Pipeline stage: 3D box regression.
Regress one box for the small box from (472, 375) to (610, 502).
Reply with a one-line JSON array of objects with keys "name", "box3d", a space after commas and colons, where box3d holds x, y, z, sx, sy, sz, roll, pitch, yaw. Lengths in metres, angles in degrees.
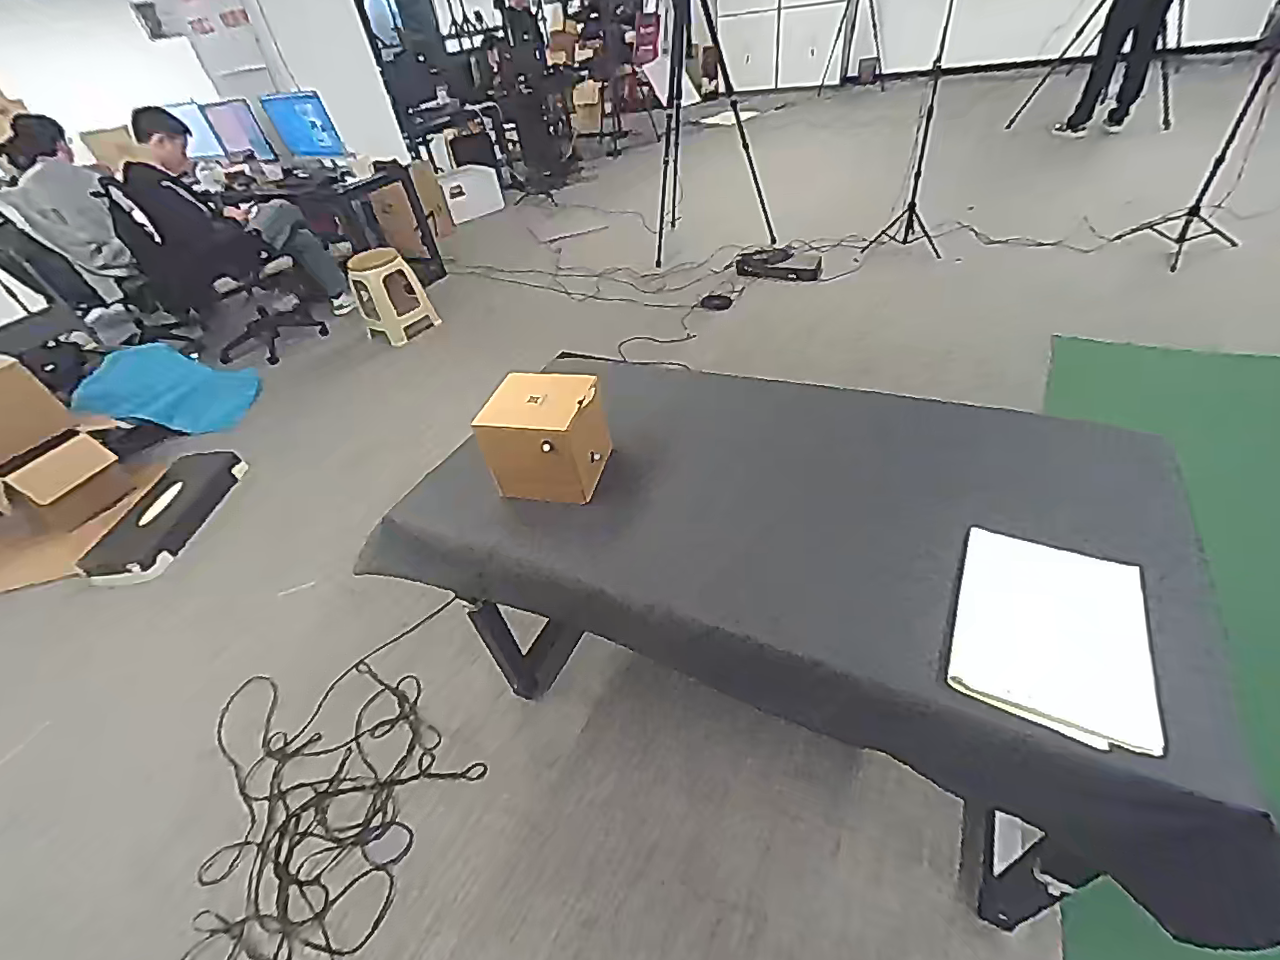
[{"name": "small box", "box3d": [-0.168, -0.075, 0.979, 0.179, 0.176, 0.168, 4, 43, 15]}]
